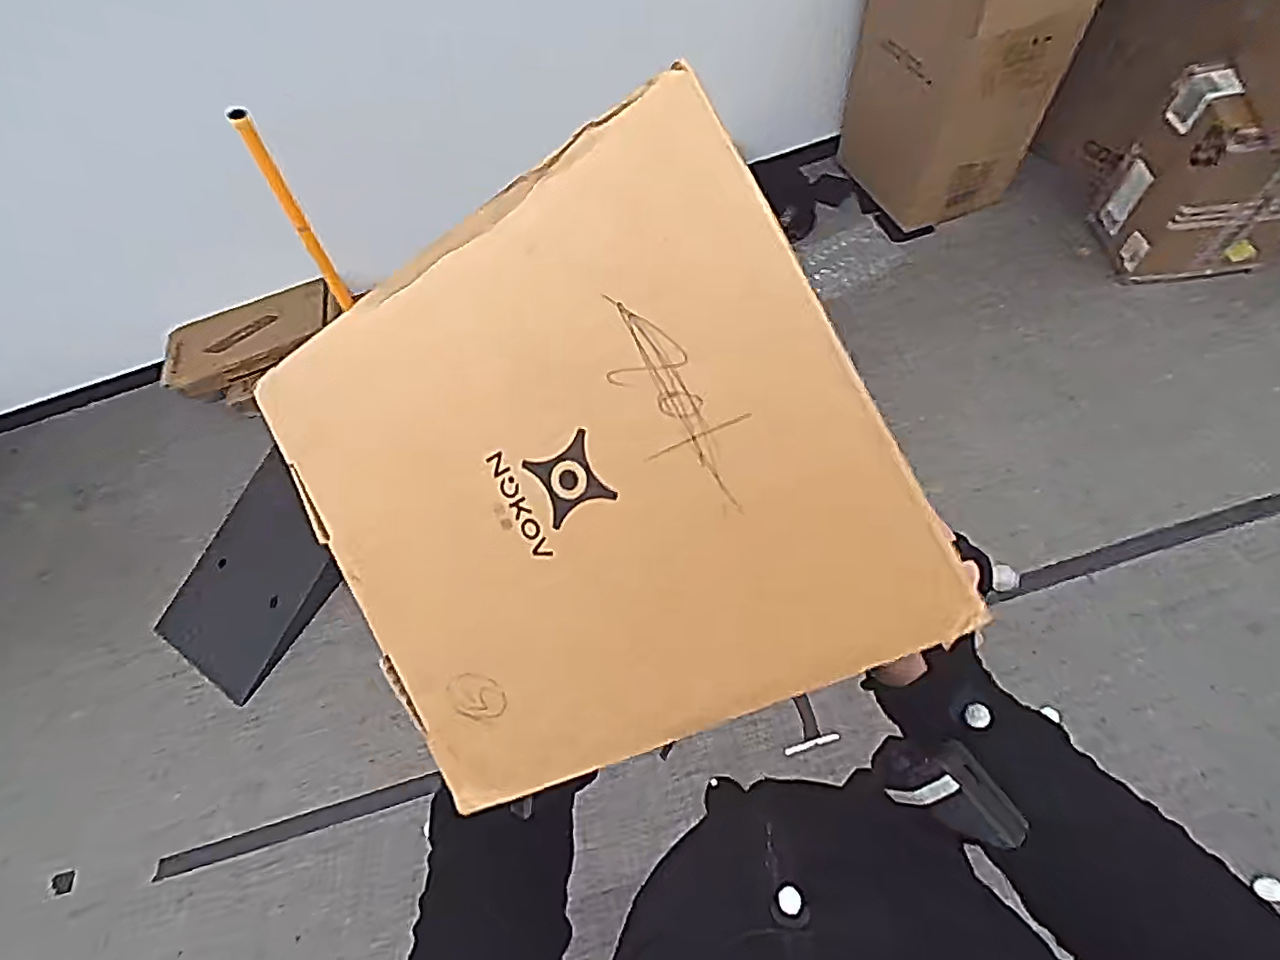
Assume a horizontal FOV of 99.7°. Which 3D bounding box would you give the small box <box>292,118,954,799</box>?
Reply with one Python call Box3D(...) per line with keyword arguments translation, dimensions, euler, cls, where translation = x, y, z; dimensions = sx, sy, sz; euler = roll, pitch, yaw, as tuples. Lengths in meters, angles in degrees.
Box3D(translation=(0.000, -0.002, 0.251), dimensions=(0.179, 0.176, 0.168), euler=(-29, 88, 15), cls="small box")
